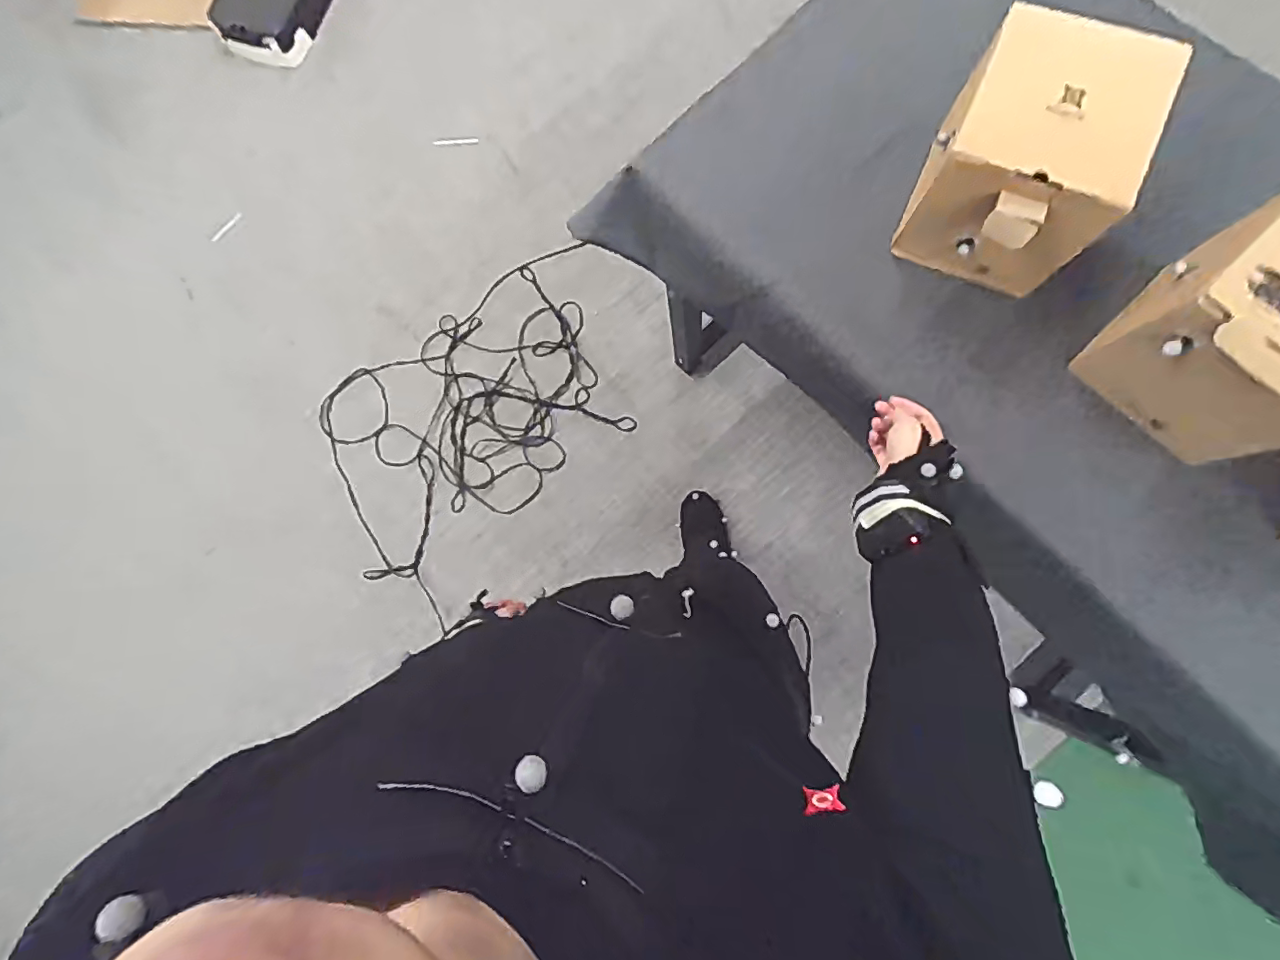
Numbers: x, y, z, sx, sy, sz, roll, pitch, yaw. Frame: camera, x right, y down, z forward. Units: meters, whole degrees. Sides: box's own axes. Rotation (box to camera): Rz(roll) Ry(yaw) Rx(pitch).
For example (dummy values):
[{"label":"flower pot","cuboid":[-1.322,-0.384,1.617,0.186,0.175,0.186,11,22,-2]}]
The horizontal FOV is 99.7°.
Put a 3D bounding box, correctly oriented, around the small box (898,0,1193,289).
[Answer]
[{"label":"small box","cuboid":[0.407,-0.342,0.577,0.168,0.176,0.179,23,85,8]}]
